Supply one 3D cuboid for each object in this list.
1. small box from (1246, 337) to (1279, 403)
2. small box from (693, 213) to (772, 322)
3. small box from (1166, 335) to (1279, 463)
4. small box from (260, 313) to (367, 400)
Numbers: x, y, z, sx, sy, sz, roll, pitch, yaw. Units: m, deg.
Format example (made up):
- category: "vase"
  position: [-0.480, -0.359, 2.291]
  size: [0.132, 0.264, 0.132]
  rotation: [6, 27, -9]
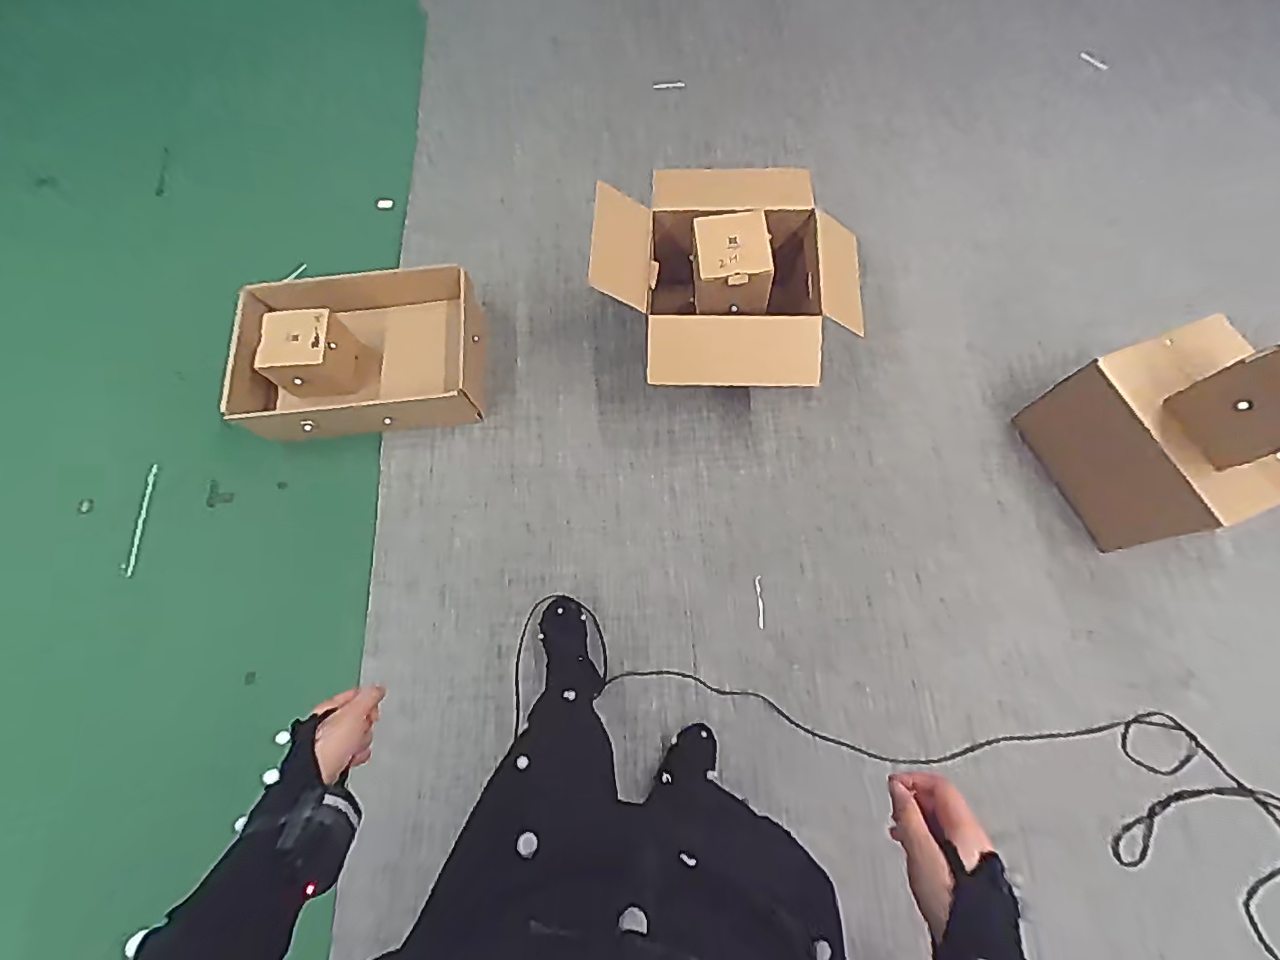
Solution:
- category: "small box"
  position: [1.176, -0.195, 0.870]
  size: [0.168, 0.176, 0.179]
  rotation: [-21, 72, -2]
- category: "small box"
  position: [0.220, -0.516, 1.324]
  size: [0.168, 0.176, 0.179]
  rotation: [-6, 72, 4]
- category: "small box"
  position: [1.183, -0.157, 1.028]
  size: [0.168, 0.176, 0.179]
  rotation: [-21, 72, -2]
- category: "small box"
  position: [-0.877, -0.329, 1.468]
  size: [0.179, 0.176, 0.168]
  rotation: [-5, 71, 1]
